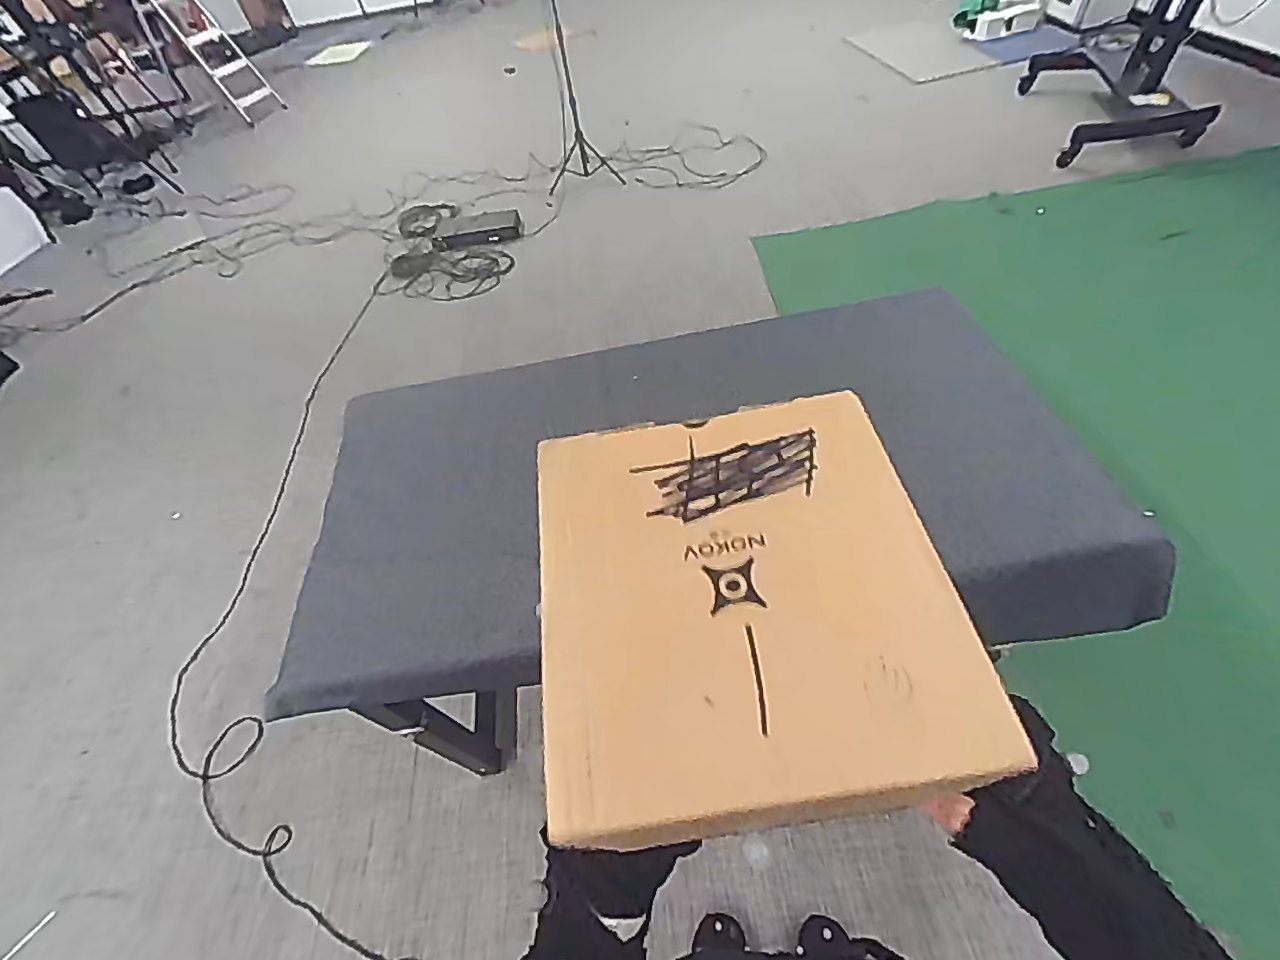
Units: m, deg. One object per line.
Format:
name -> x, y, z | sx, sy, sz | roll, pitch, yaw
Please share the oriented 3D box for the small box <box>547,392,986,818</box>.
small box -> 0.048, 0.079, 0.313 | 0.168, 0.176, 0.179 | -9, 54, 3
